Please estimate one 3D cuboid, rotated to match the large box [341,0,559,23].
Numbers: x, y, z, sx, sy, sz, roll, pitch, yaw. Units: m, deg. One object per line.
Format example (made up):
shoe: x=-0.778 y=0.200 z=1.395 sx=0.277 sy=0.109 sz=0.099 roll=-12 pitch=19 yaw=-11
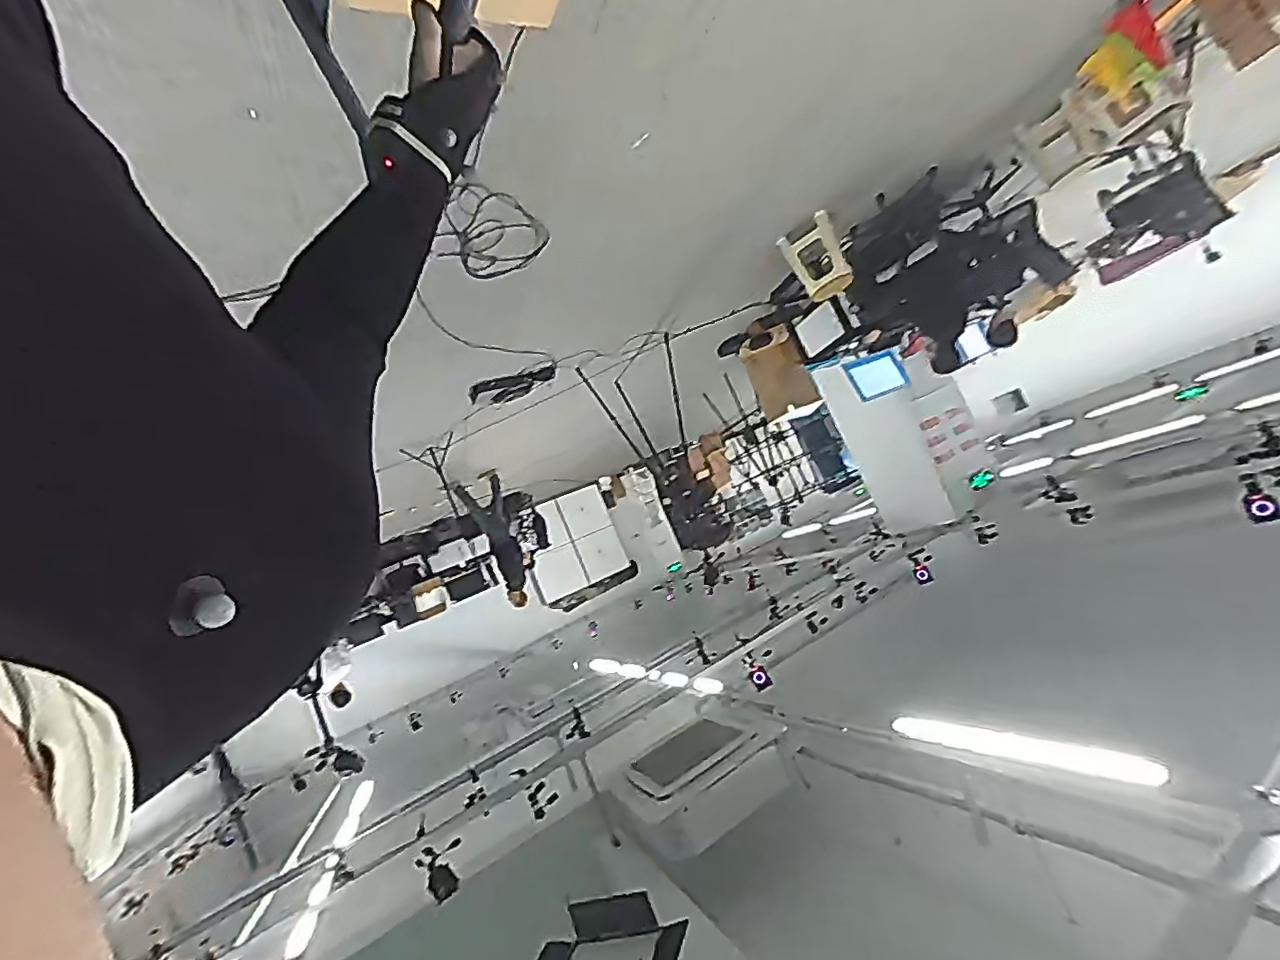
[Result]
large box: x=-0.312 y=-0.954 z=0.789 sx=0.408 sy=0.320 sz=0.320 roll=-33 pitch=-178 yaw=-37
